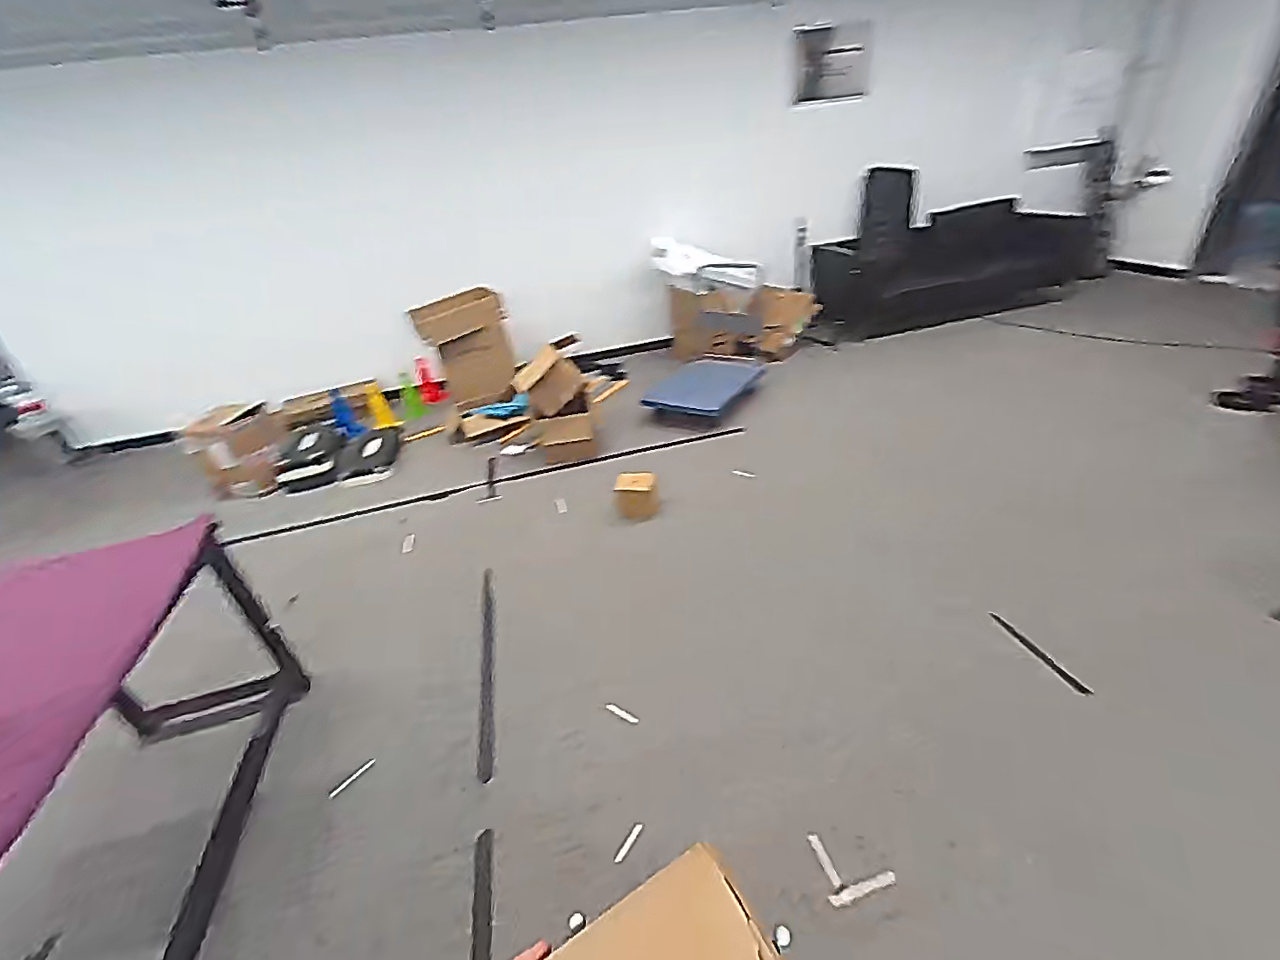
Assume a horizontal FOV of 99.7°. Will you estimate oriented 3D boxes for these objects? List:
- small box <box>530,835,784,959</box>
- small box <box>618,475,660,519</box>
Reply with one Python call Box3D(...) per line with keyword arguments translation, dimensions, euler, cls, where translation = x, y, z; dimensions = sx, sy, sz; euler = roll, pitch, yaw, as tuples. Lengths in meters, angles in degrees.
Box3D(translation=(0.031, 0.423, 0.432), dimensions=(0.179, 0.176, 0.168), euler=(-32, 54, -10), cls="small box")
Box3D(translation=(-0.003, 0.088, 2.777), dimensions=(0.179, 0.176, 0.168), euler=(1, 31, 13), cls="small box")
